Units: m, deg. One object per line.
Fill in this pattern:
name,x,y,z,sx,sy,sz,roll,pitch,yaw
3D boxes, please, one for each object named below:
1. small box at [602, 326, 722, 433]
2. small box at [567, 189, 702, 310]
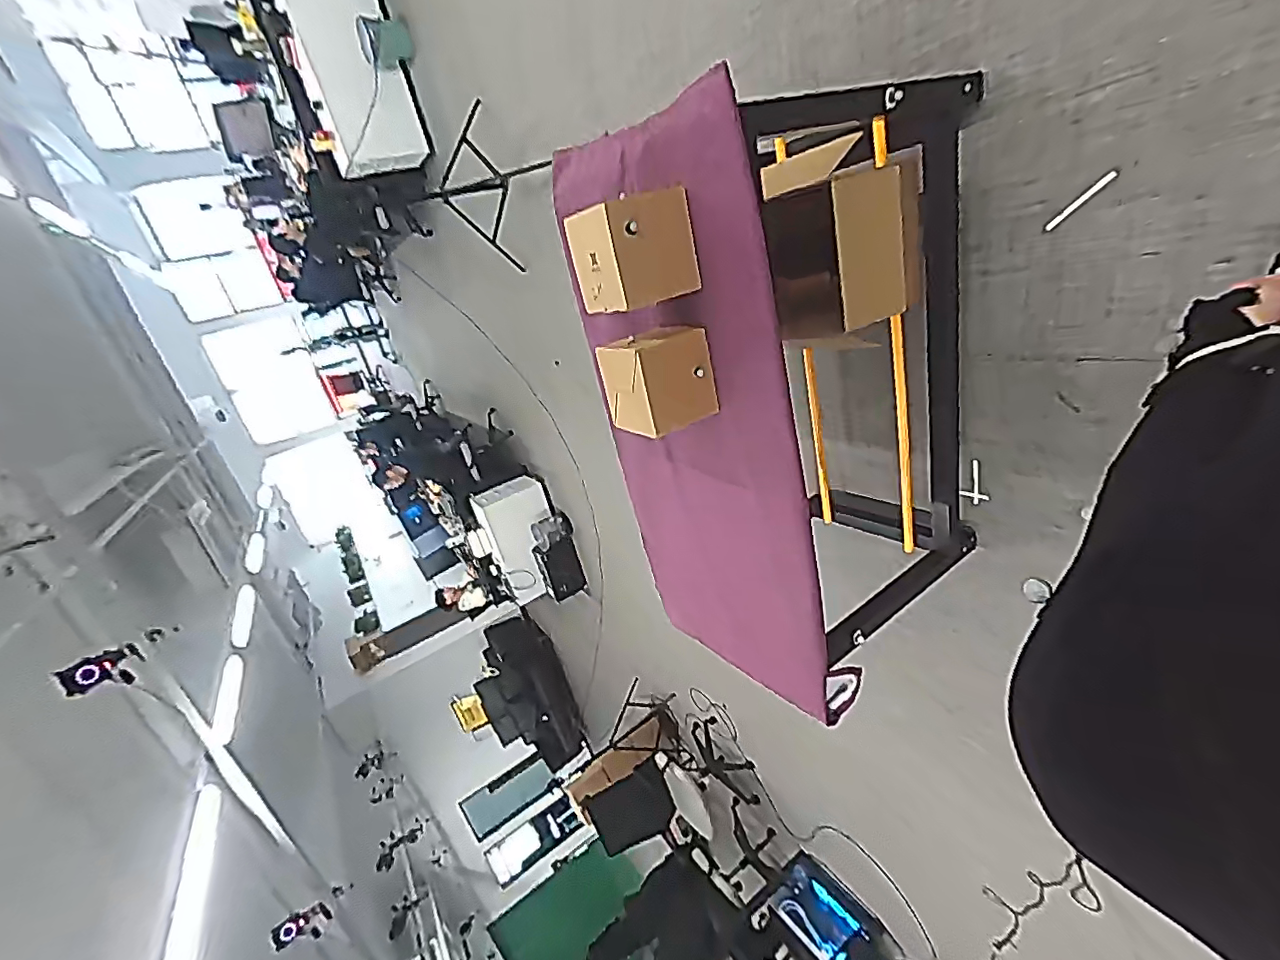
small box,0.041,-0.206,1.103,0.168,0.176,0.179,24,134,55
small box,-0.008,-0.424,1.000,0.168,0.176,0.179,24,134,56
